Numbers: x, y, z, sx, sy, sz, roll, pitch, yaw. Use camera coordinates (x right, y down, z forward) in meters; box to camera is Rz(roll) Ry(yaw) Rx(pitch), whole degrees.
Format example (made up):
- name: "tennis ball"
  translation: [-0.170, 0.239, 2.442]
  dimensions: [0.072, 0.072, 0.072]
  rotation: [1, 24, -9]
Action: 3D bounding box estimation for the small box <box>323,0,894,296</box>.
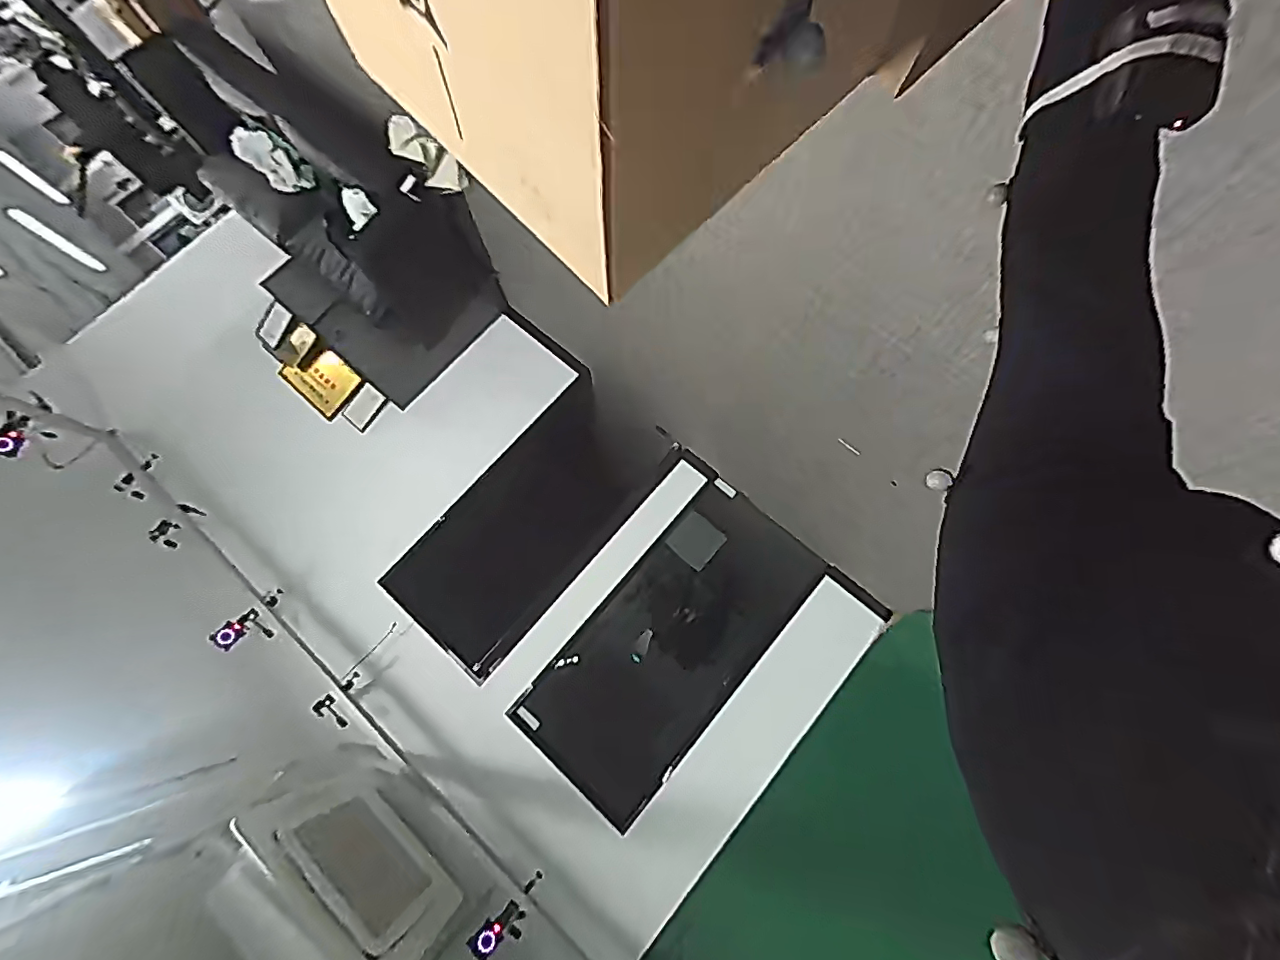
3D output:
- name: "small box"
  translation: [-0.006, -0.203, 0.165]
  dimensions: [0.168, 0.176, 0.179]
  rotation: [45, 171, 4]
